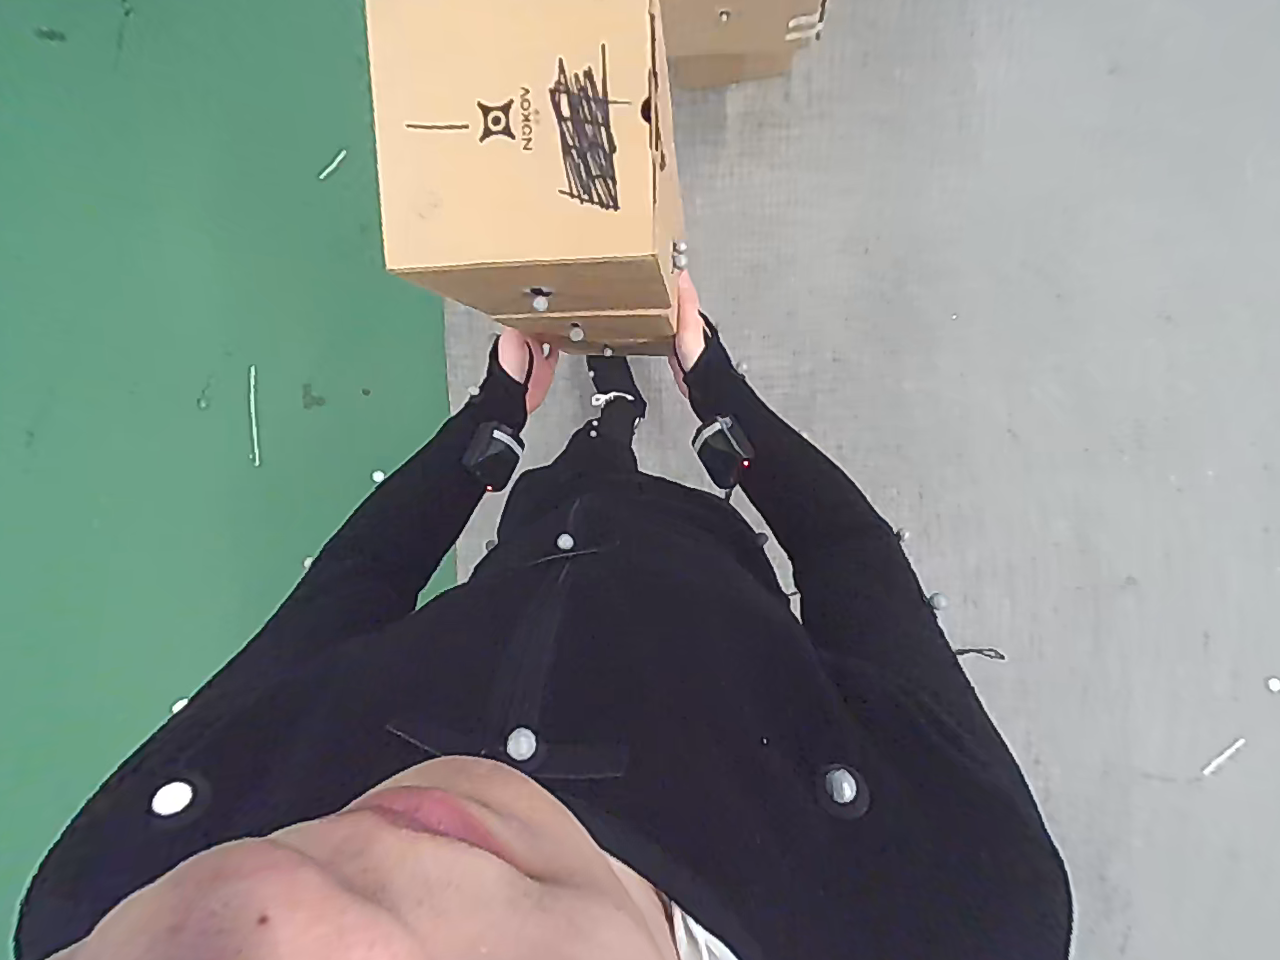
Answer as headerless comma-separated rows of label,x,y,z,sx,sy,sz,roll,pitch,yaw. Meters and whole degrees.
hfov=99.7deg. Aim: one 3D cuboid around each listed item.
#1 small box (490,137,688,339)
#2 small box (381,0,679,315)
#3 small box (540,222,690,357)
small box,-0.044,-0.241,0.566,0.179,0.176,0.168,2,98,7
small box,-0.060,-0.222,0.403,0.179,0.176,0.168,0,97,7
small box,-0.026,-0.260,0.727,0.179,0.176,0.168,4,97,6
